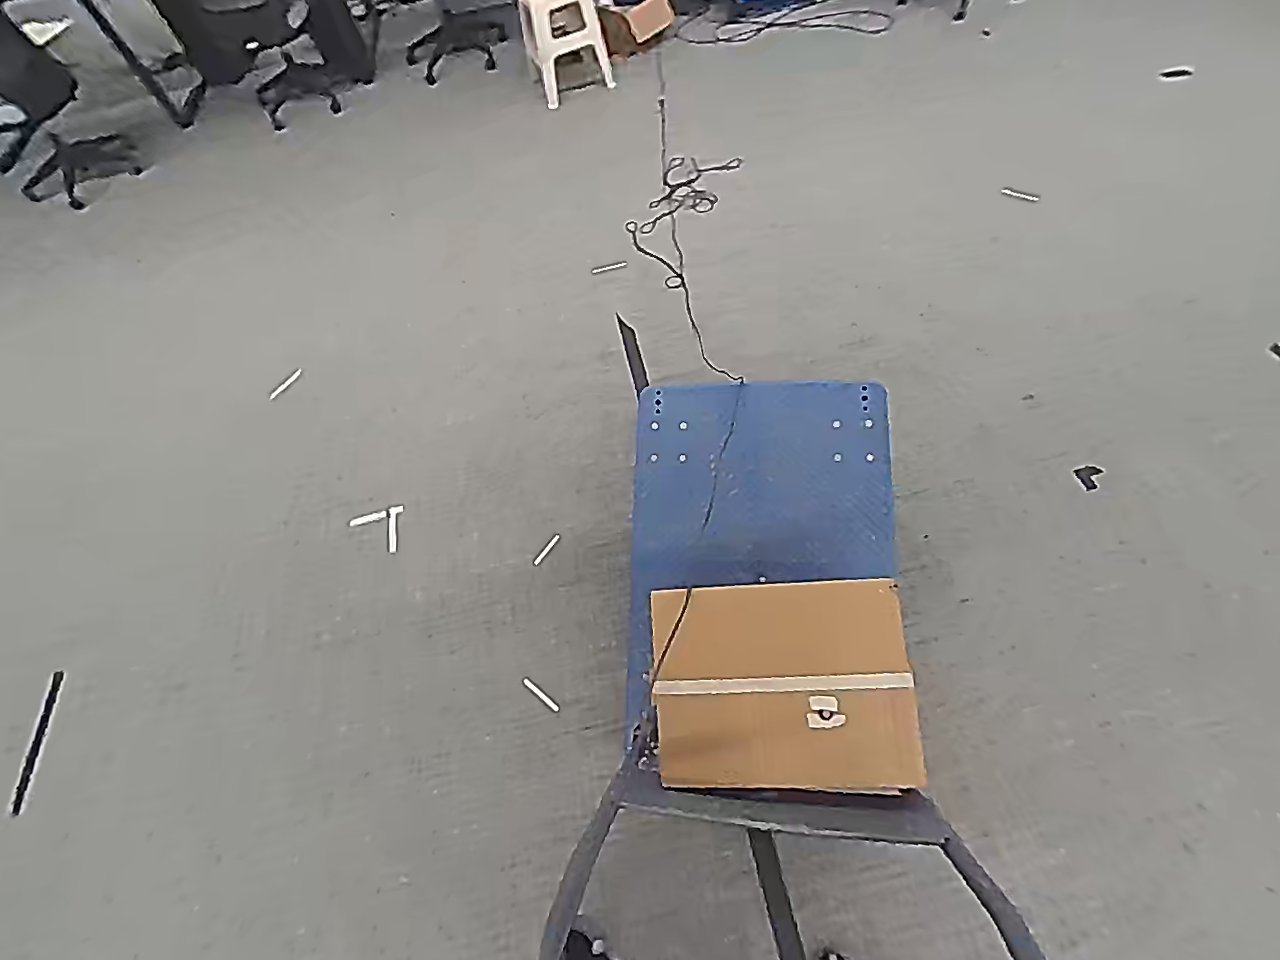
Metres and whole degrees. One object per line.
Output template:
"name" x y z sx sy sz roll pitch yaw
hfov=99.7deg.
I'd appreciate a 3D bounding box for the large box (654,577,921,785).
"large box" 0.251 0.362 1.033 0.408 0.320 0.320 -5 78 8
